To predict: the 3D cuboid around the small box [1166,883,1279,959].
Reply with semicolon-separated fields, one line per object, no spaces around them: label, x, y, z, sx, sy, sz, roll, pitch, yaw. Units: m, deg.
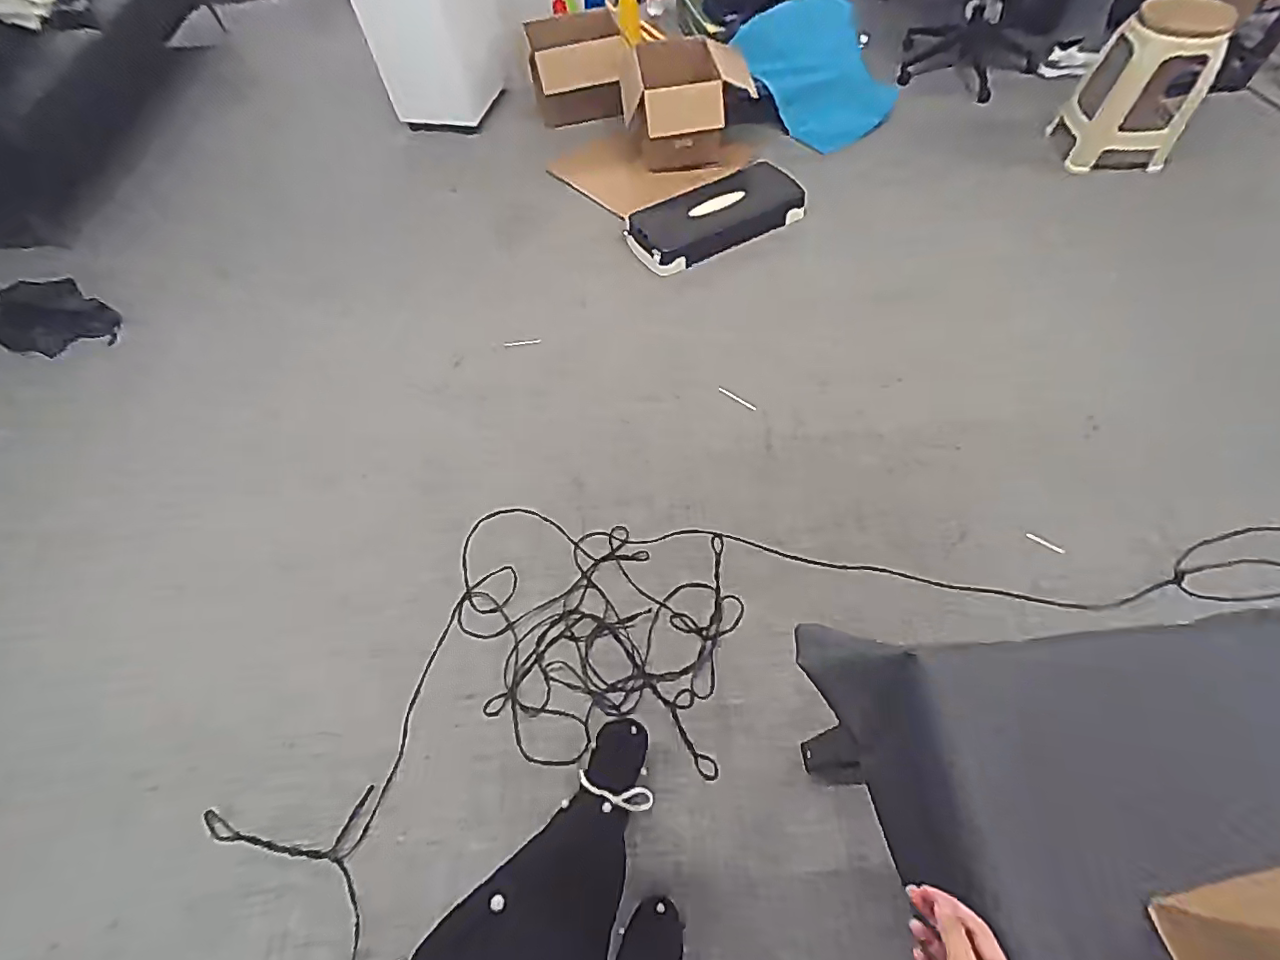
small box;0.512;0.361;0.335;0.179;0.176;0.168;-12;59;-3
